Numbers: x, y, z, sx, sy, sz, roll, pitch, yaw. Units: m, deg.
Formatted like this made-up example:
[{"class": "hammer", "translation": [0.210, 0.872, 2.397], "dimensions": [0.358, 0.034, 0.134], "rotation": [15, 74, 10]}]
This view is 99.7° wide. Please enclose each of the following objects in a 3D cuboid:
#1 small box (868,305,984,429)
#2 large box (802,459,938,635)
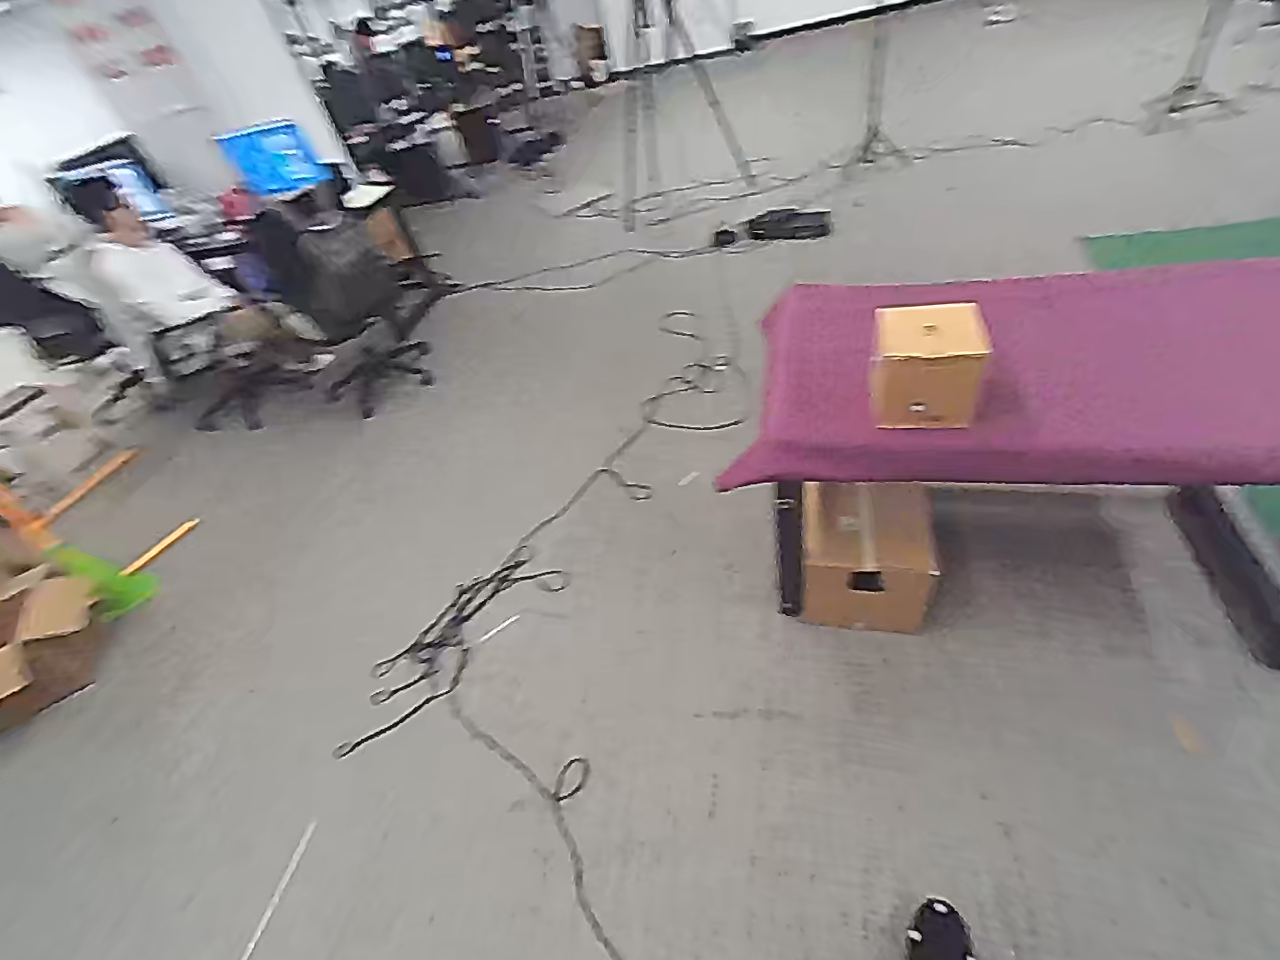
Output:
[{"class": "small box", "translation": [0.541, -0.218, 1.050], "dimensions": [0.168, 0.176, 0.179], "rotation": [1, 46, 17]}, {"class": "large box", "translation": [0.637, 0.187, 1.573], "dimensions": [0.320, 0.320, 0.408], "rotation": [0, 48, 17]}]
